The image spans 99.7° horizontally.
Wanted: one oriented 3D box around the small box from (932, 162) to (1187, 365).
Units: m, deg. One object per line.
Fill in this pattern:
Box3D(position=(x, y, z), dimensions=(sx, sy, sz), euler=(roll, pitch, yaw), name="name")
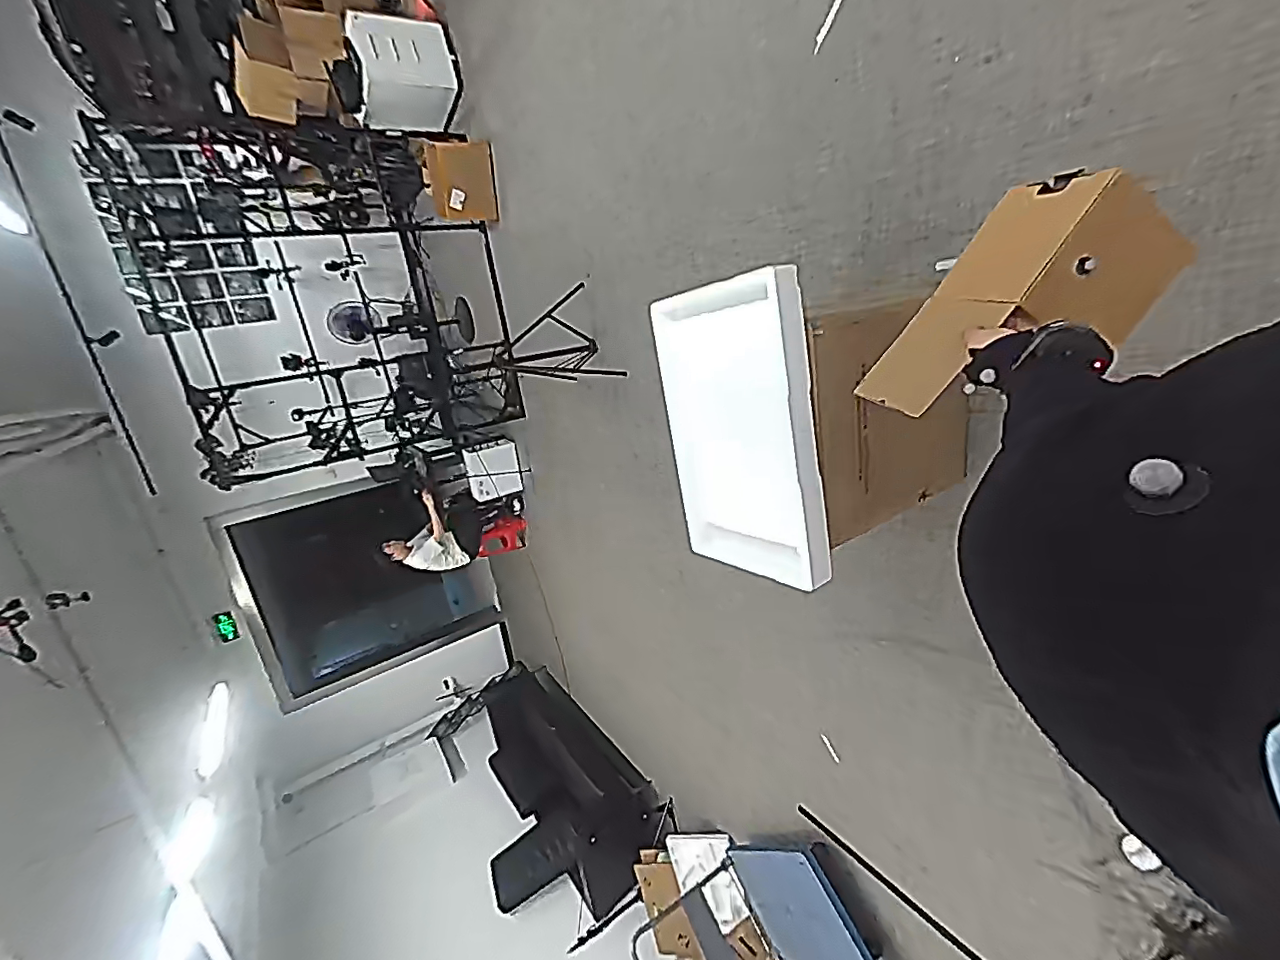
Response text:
Box3D(position=(0.547, -0.275, 0.716), dimensions=(0.179, 0.176, 0.168), euler=(-58, 18, 14), name="small box")
